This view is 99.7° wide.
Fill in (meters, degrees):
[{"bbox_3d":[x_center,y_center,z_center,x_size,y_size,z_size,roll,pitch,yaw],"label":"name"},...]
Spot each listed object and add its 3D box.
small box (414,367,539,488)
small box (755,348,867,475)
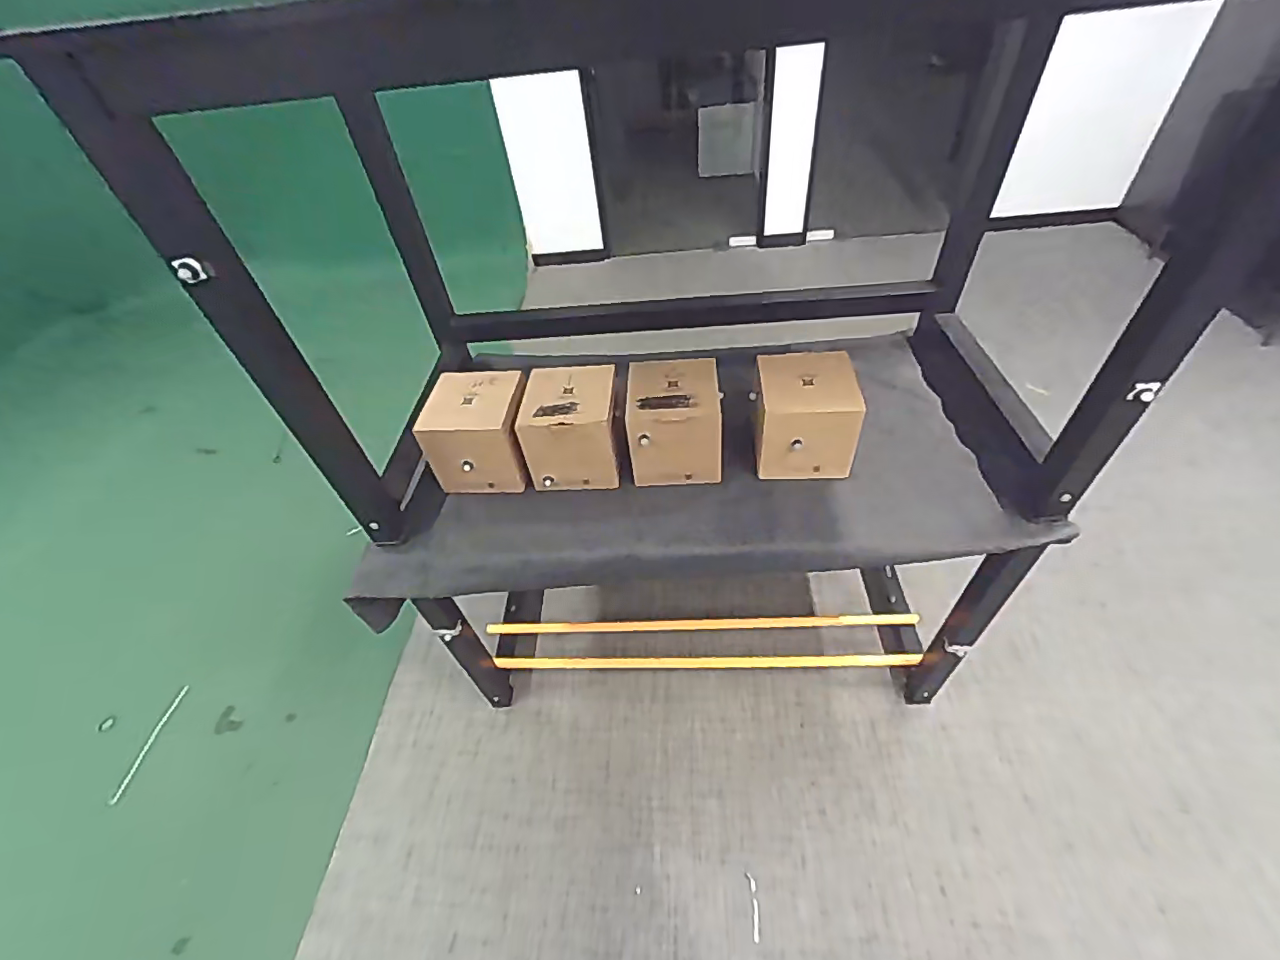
[{"bbox_3d":[-0.304,-0.099,1.053,0.168,0.176,0.179,1,47,6],"label":"small box"},{"bbox_3d":[0.305,-0.123,1.001,0.168,0.176,0.179,0,46,6],"label":"small box"}]
